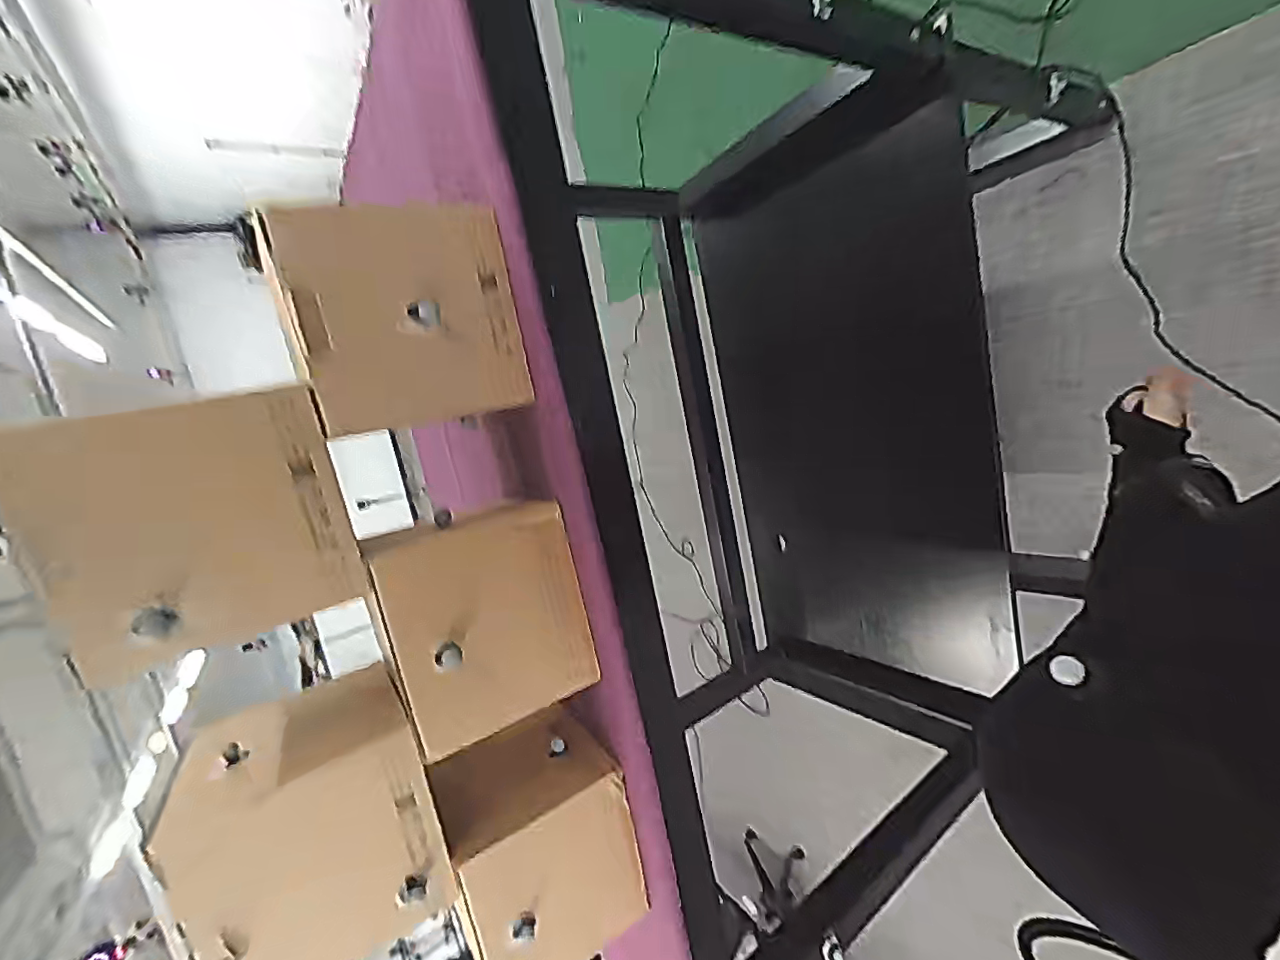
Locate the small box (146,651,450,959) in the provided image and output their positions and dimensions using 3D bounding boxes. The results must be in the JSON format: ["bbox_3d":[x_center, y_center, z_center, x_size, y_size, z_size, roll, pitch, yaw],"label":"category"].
[{"bbox_3d":[-0.278,0.272,0.471,0.179,0.176,0.168,2,105,58],"label":"small box"}]

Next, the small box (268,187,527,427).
[{"bbox_3d":[-0.215,-0.147,0.494,0.179,0.176,0.168,4,107,55],"label":"small box"}]

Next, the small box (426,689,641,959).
[{"bbox_3d":[-0.113,0.357,0.564,0.168,0.176,0.179,8,110,56],"label":"small box"}]
